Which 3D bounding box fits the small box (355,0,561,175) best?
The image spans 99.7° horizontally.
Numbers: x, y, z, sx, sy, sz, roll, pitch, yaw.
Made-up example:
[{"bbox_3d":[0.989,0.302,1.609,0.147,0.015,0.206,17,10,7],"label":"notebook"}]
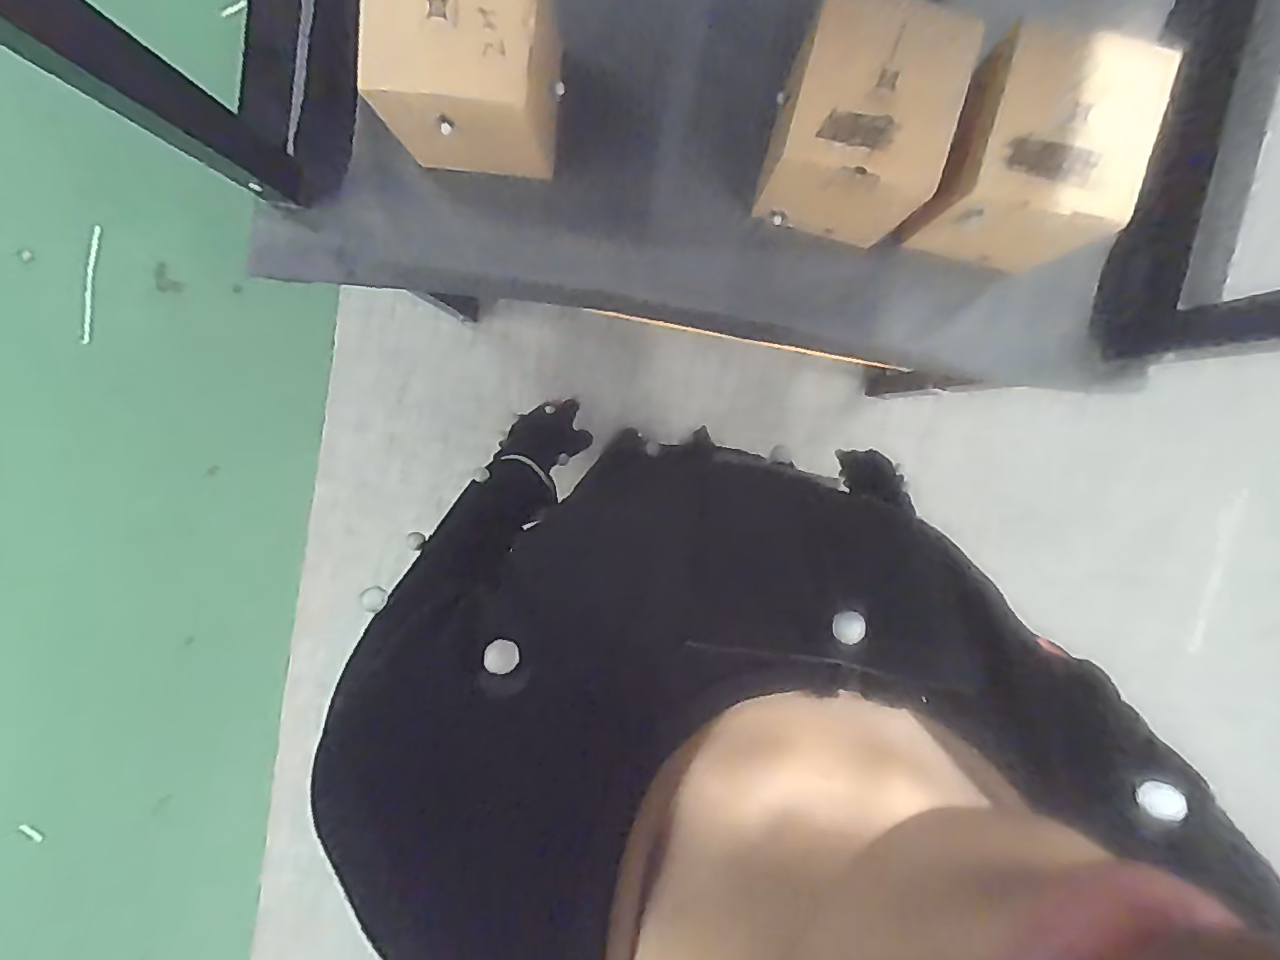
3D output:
[{"bbox_3d":[-0.196,-0.477,0.623,0.179,0.176,0.168,6,96,-1],"label":"small box"}]
